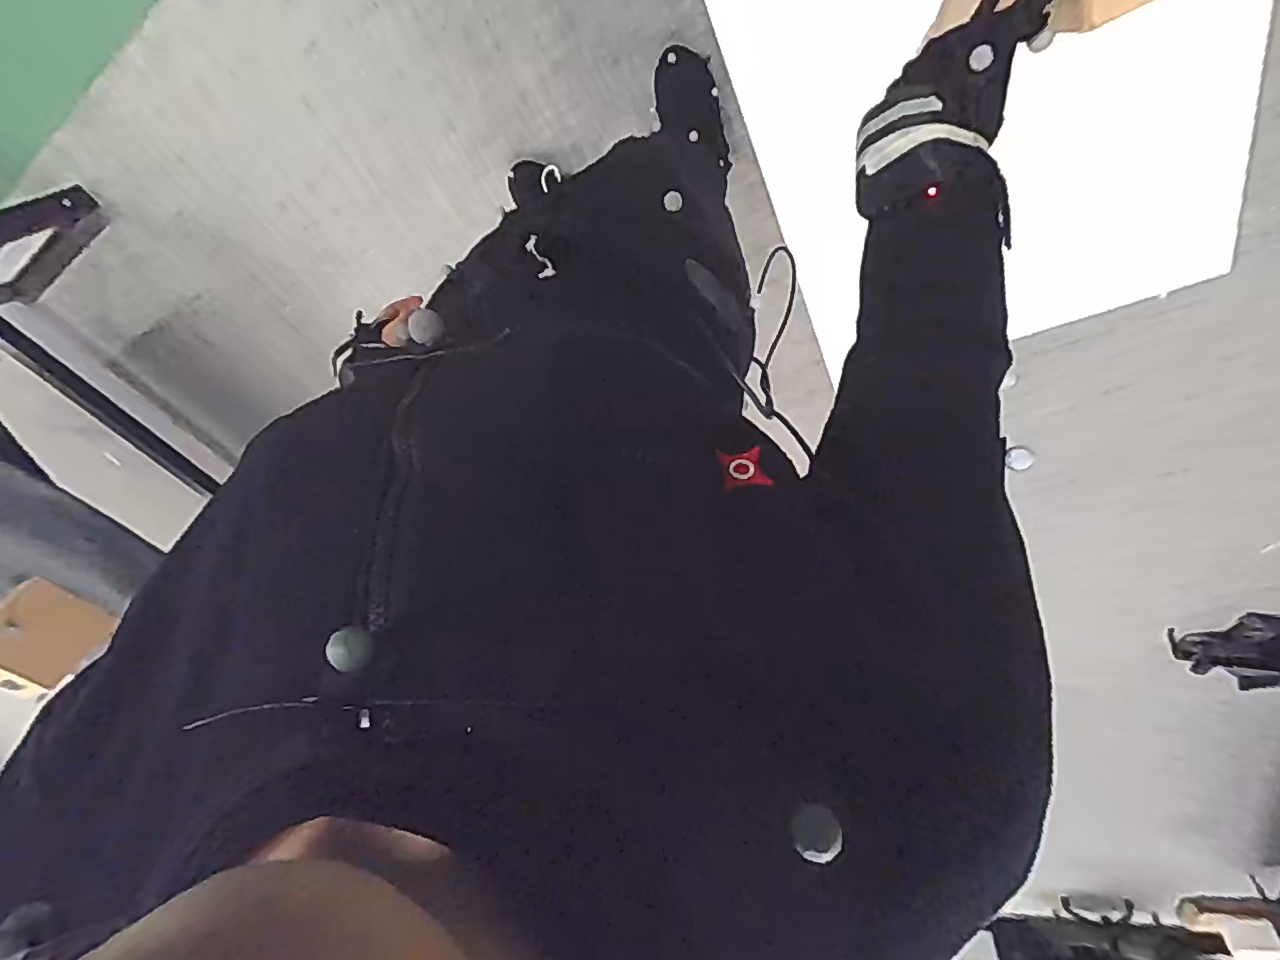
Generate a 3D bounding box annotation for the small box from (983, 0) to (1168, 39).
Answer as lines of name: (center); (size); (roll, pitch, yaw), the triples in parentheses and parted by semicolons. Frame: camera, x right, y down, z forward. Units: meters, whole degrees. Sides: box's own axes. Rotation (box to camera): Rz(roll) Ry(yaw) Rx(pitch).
small box: (0.322, -0.401, 0.314); (0.179, 0.176, 0.168); (-16, 125, 23)
